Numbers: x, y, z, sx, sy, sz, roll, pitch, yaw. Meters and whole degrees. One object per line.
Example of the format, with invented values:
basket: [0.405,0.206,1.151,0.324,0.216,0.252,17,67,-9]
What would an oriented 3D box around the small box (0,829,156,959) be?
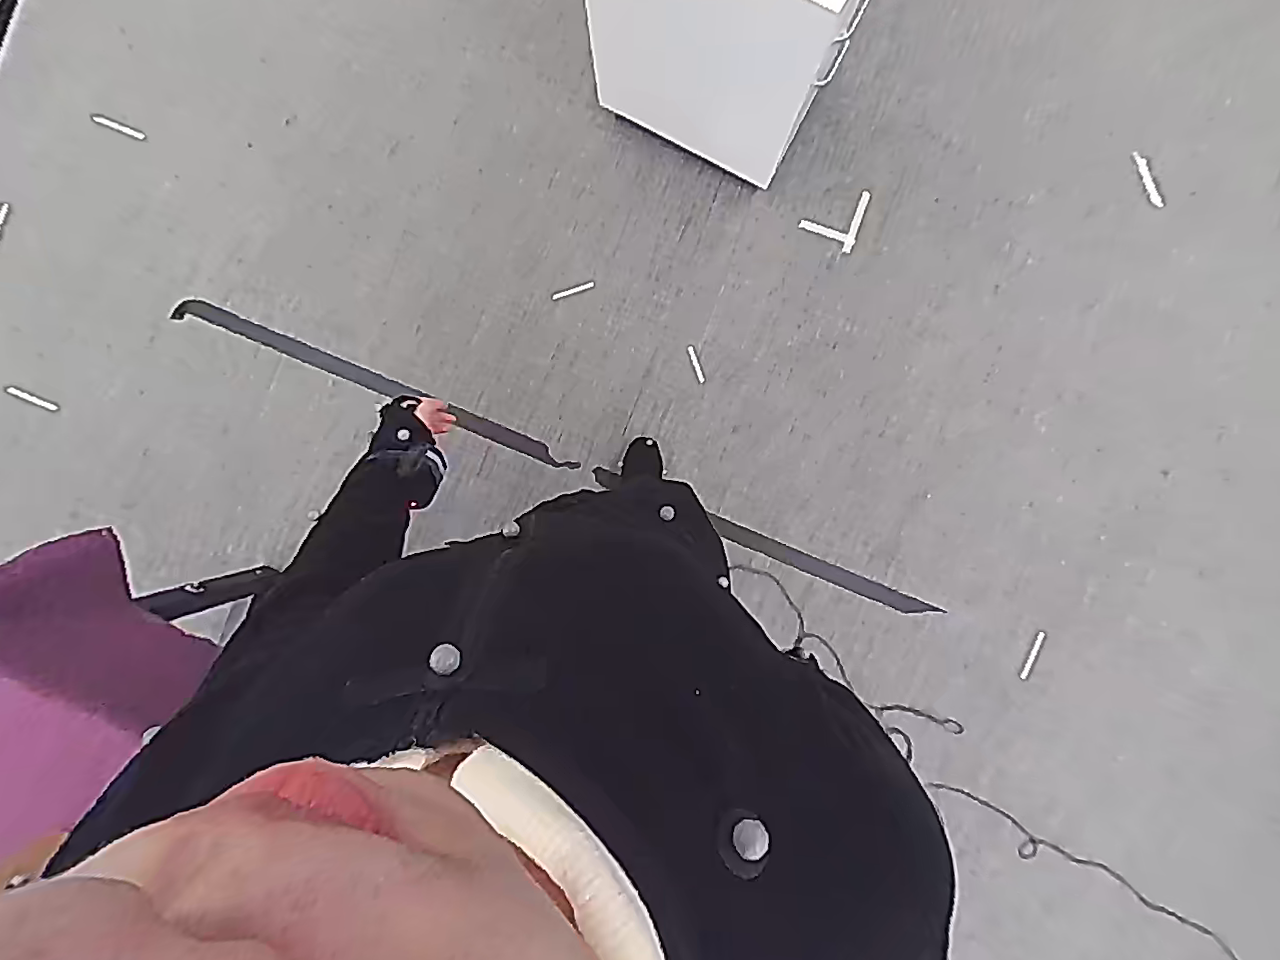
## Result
small box: [-0.804,0.614,0.715,0.168,0.176,0.179,22,92,1]
